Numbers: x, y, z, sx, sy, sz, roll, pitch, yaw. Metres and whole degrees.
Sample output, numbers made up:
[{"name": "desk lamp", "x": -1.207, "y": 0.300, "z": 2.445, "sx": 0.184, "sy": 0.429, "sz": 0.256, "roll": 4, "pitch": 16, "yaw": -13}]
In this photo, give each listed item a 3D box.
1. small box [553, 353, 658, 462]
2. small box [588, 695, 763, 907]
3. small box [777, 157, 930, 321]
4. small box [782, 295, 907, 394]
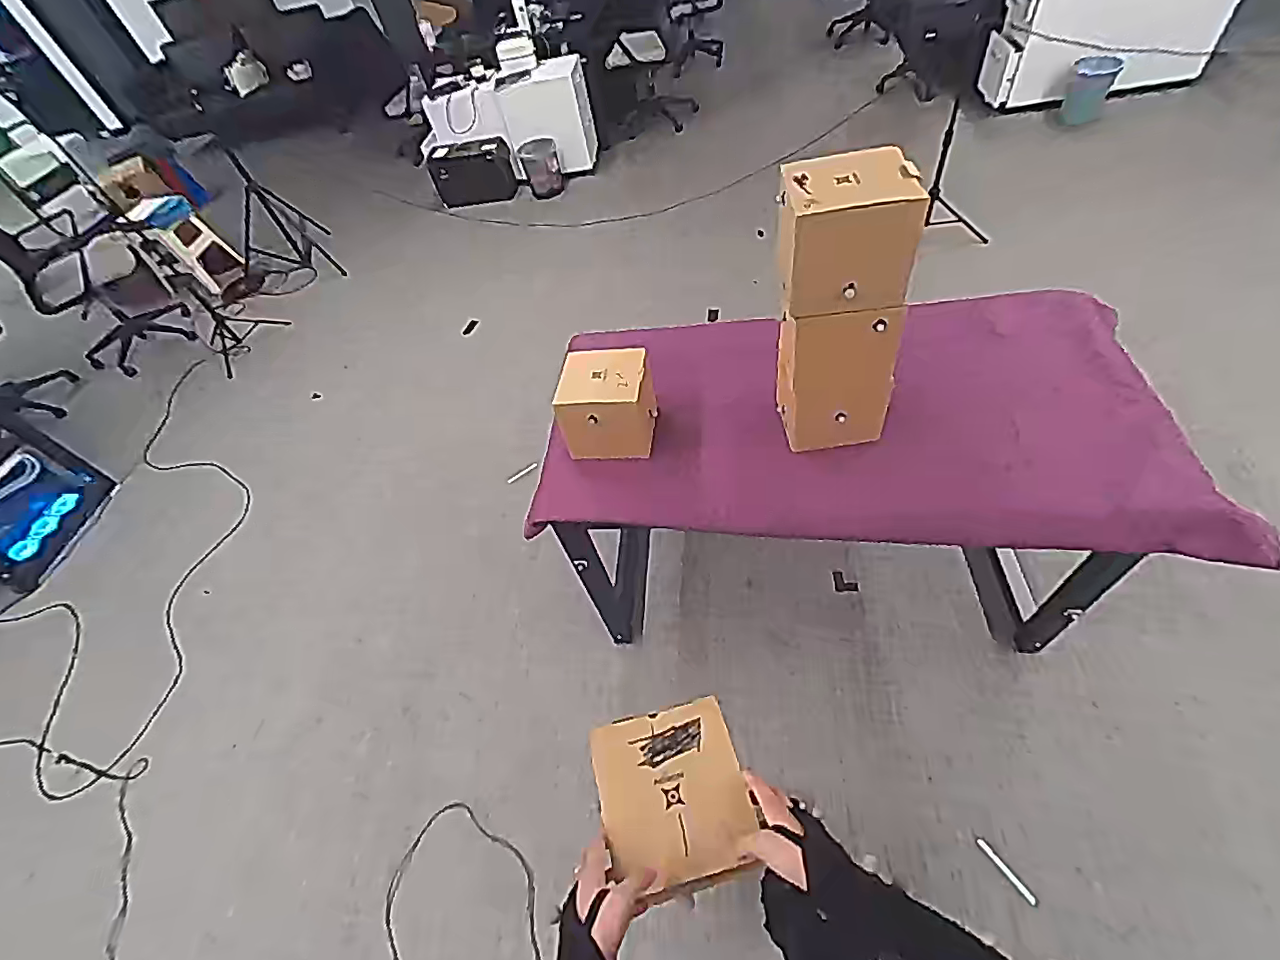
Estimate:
[{"name": "small box", "x": -0.066, "y": -0.153, "z": 1.162, "sx": 0.179, "sy": 0.176, "sz": 0.168, "roll": 0, "pitch": 51, "yaw": 11}, {"name": "small box", "x": 0.034, "y": 0.401, "z": 0.675, "sx": 0.168, "sy": 0.176, "sz": 0.179, "roll": -11, "pitch": 50, "yaw": -8}, {"name": "small box", "x": 0.313, "y": -0.367, "z": 0.835, "sx": 0.179, "sy": 0.176, "sz": 0.168, "roll": -3, "pitch": 51, "yaw": 8}, {"name": "small box", "x": 0.349, "y": -0.268, "z": 0.962, "sx": 0.179, "sy": 0.176, "sz": 0.168, "roll": -4, "pitch": 51, "yaw": 9}]
